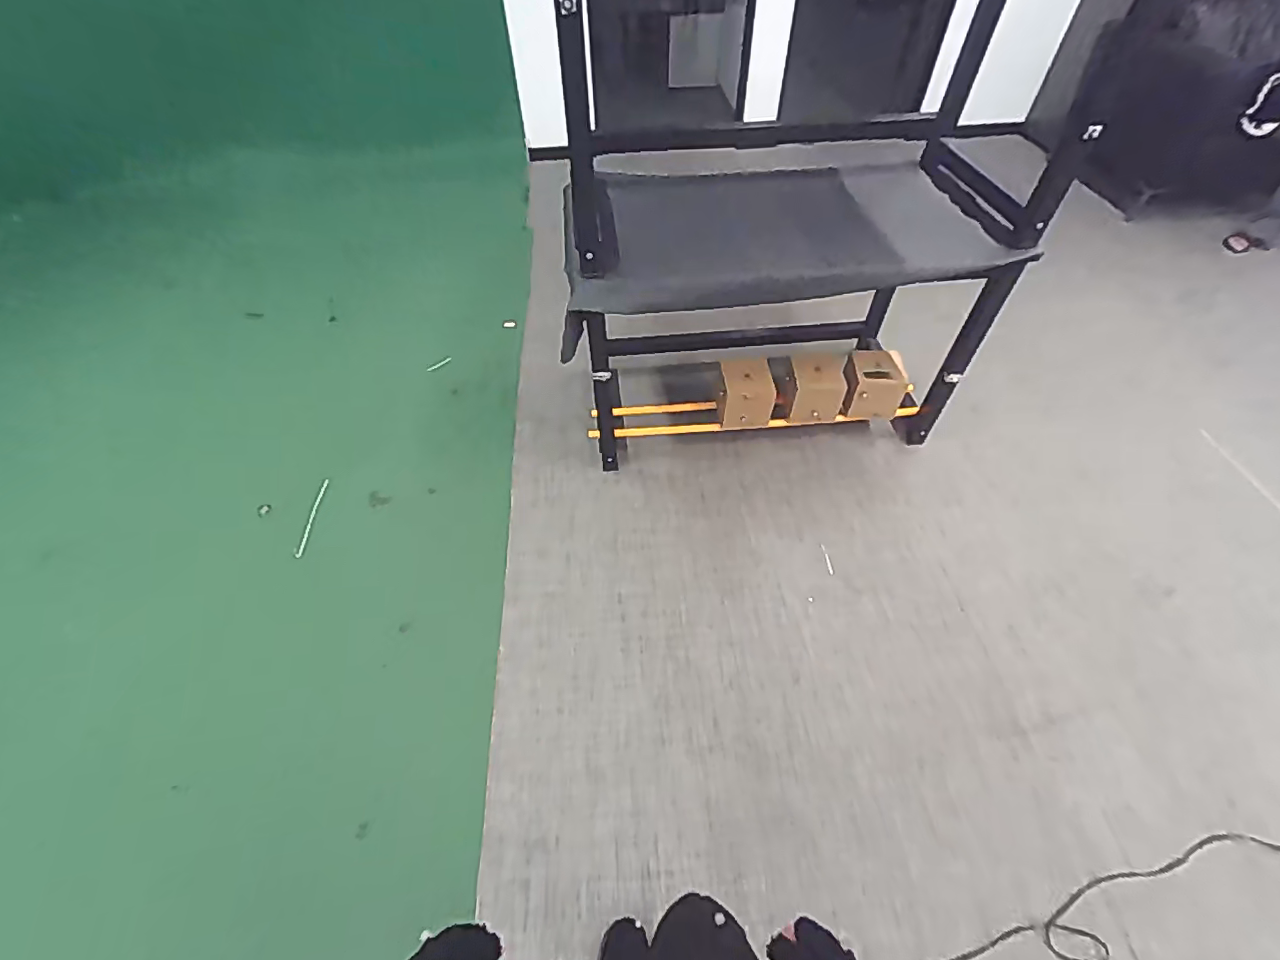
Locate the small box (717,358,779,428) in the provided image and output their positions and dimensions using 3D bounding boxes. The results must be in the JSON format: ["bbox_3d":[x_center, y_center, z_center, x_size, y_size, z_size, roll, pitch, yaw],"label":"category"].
[{"bbox_3d":[0.367,-0.301,1.873,0.168,0.176,0.179,-3,54,-2],"label":"small box"}]
